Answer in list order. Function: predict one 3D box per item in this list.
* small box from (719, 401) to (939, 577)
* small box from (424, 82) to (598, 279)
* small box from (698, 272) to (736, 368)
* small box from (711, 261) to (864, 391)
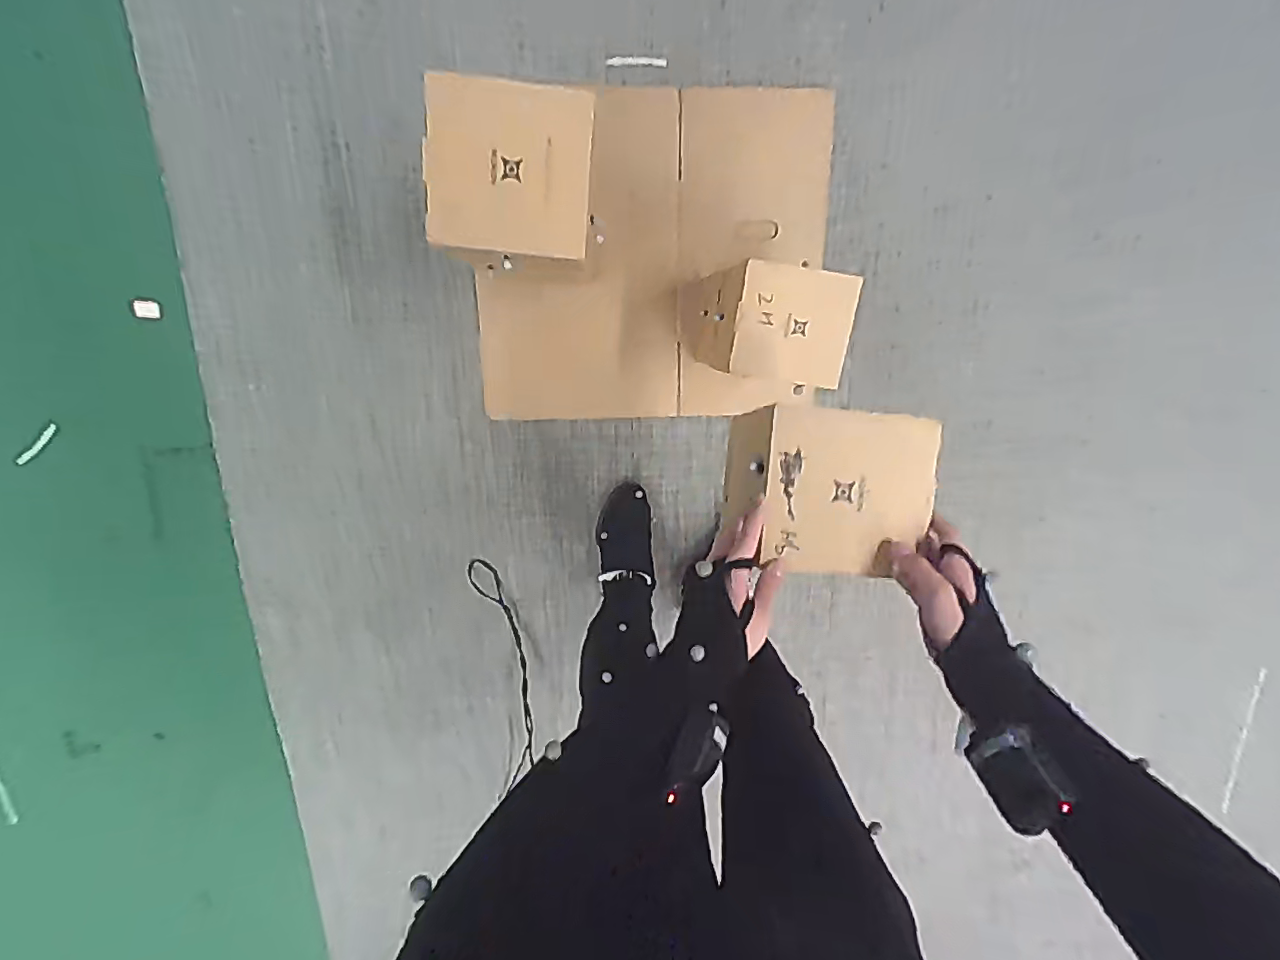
[{"bbox_3d":[0.202,0.007,0.619,0.179,0.176,0.168,5,92,-5],"label":"small box"},{"bbox_3d":[-0.146,-0.343,0.656,0.179,0.176,0.168,4,105,-5],"label":"small box"},{"bbox_3d":[0.217,-0.295,1.029,0.179,0.176,0.168,4,104,-3],"label":"small box"},{"bbox_3d":[0.225,-0.244,0.872,0.179,0.176,0.168,7,104,-4],"label":"small box"}]
